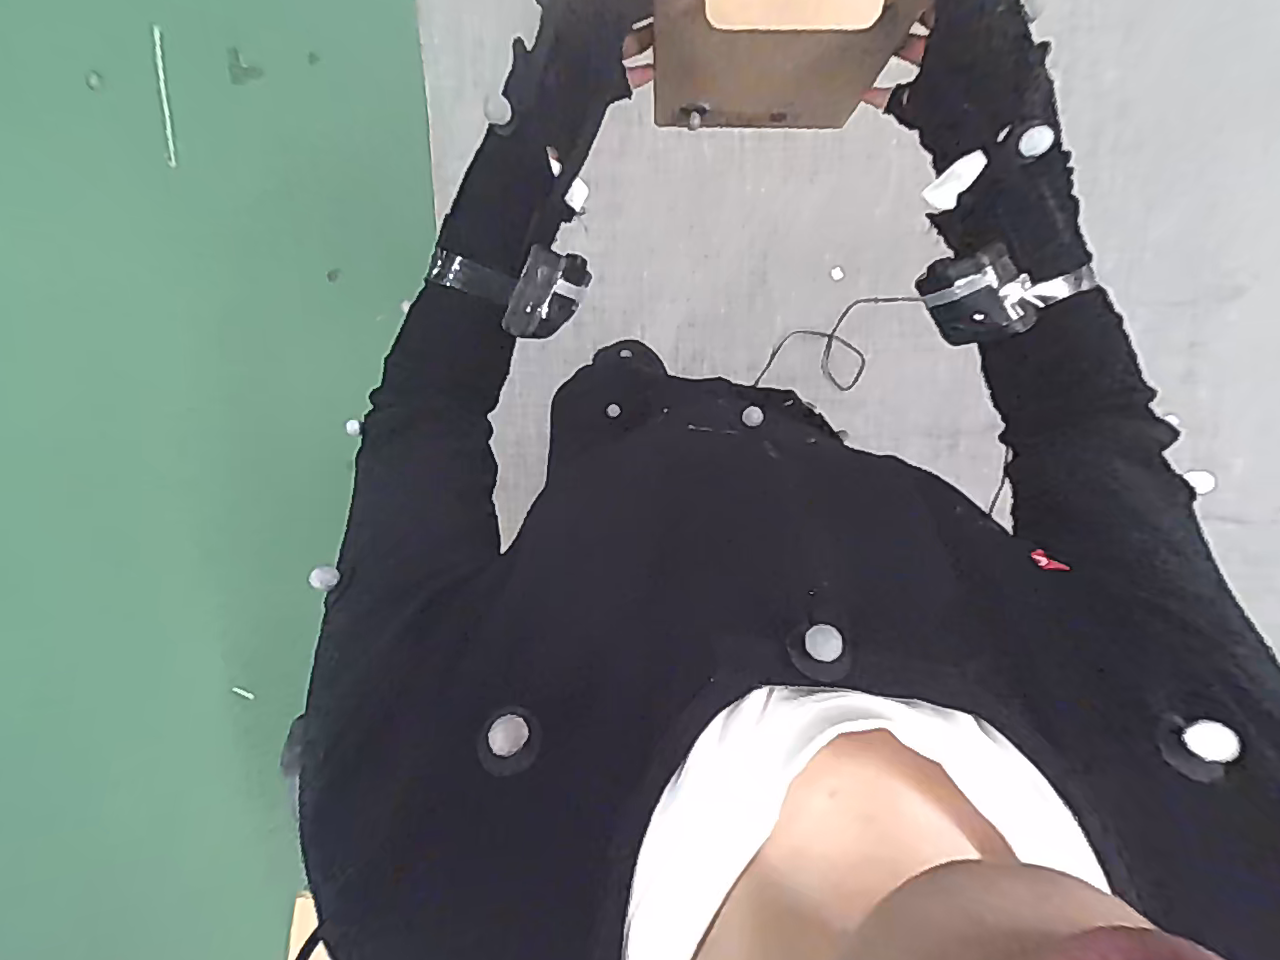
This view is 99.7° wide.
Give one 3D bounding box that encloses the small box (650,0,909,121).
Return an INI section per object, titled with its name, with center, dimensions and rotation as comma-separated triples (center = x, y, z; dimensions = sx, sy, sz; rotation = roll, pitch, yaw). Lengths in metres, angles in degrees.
[small box]
center = 0.093, -0.380, 0.375
dimensions = 0.168, 0.176, 0.179
rotation = 1, 98, 1
